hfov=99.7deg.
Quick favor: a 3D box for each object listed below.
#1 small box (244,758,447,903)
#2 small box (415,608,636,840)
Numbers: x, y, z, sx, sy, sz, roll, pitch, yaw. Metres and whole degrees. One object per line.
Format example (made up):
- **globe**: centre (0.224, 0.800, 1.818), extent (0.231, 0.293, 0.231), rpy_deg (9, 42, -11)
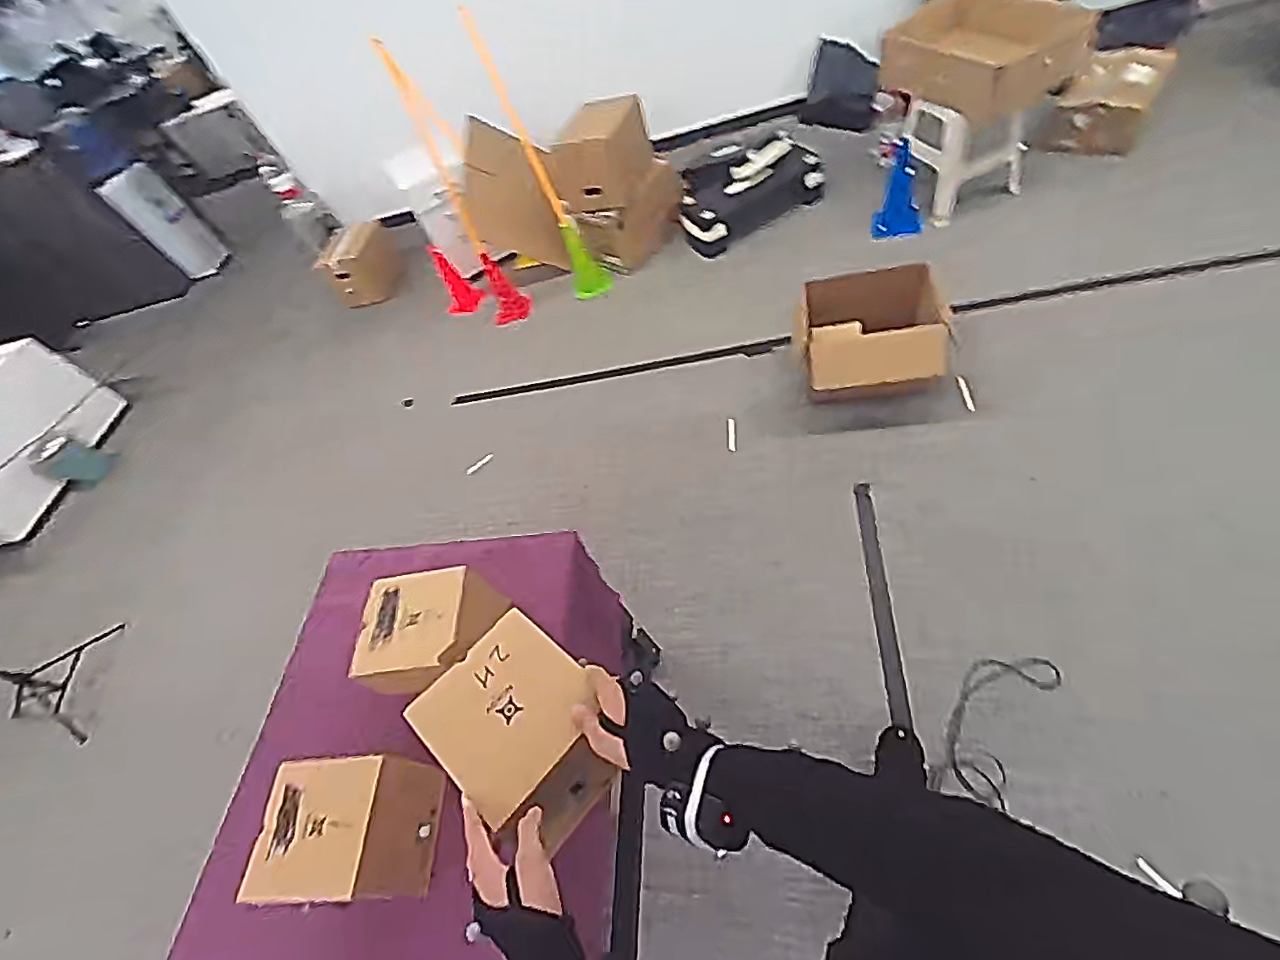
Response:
- **small box**: centre (-0.420, 0.520, 0.802), extent (0.179, 0.176, 0.168), rpy_deg (-11, 54, 11)
- **small box**: centre (-0.126, 0.297, 0.653), extent (0.179, 0.176, 0.168), rpy_deg (29, 59, 34)
